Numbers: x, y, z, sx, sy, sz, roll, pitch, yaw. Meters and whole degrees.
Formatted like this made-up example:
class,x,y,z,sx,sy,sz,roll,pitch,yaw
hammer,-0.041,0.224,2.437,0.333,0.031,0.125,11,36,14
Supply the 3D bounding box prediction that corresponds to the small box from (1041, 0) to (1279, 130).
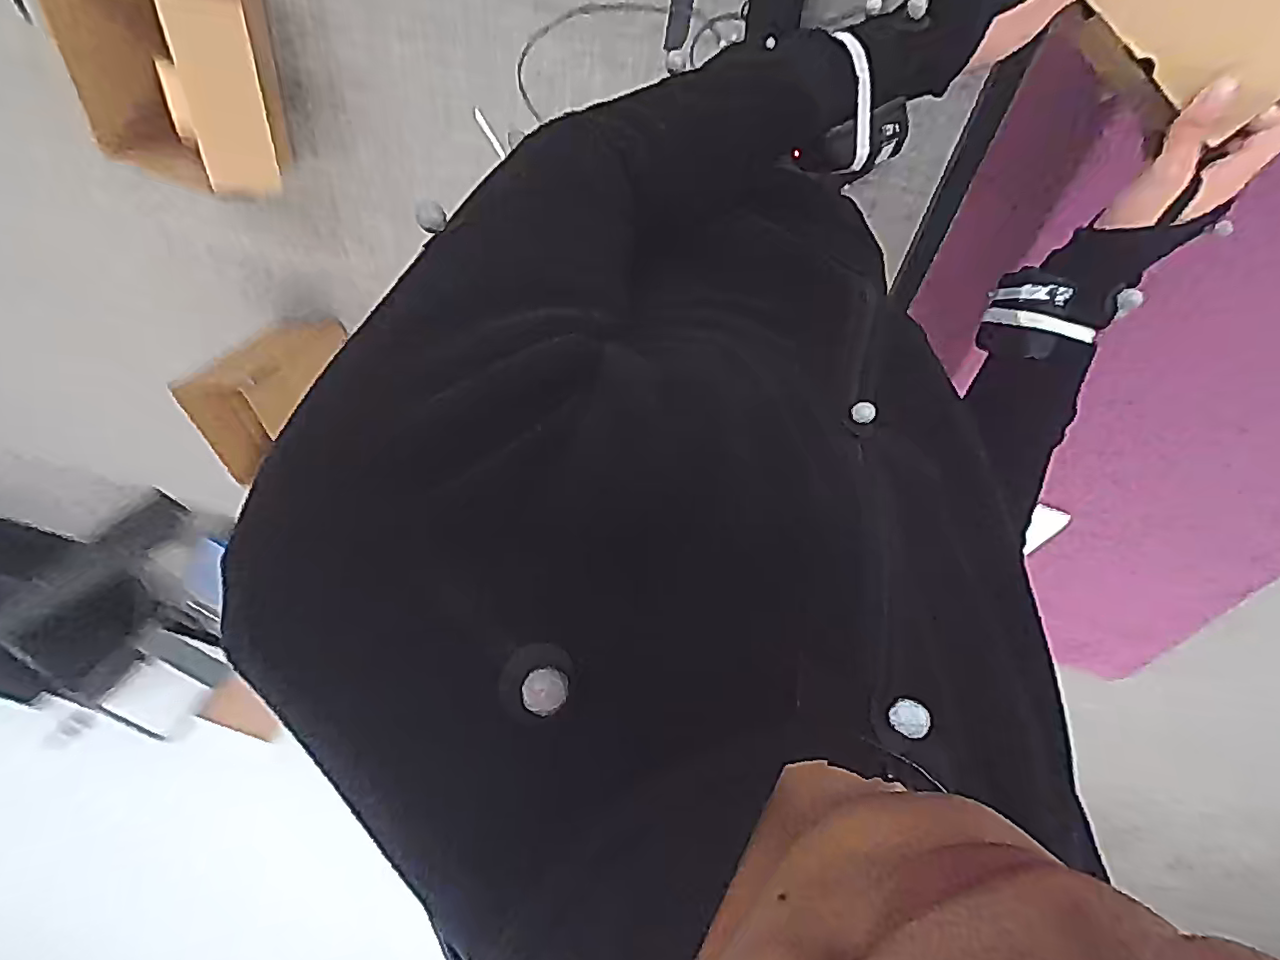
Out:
class,x,y,z,sx,sy,sz,roll,pitch,yaw
small box,0.395,-0.393,0.367,0.168,0.176,0.179,31,137,-15
